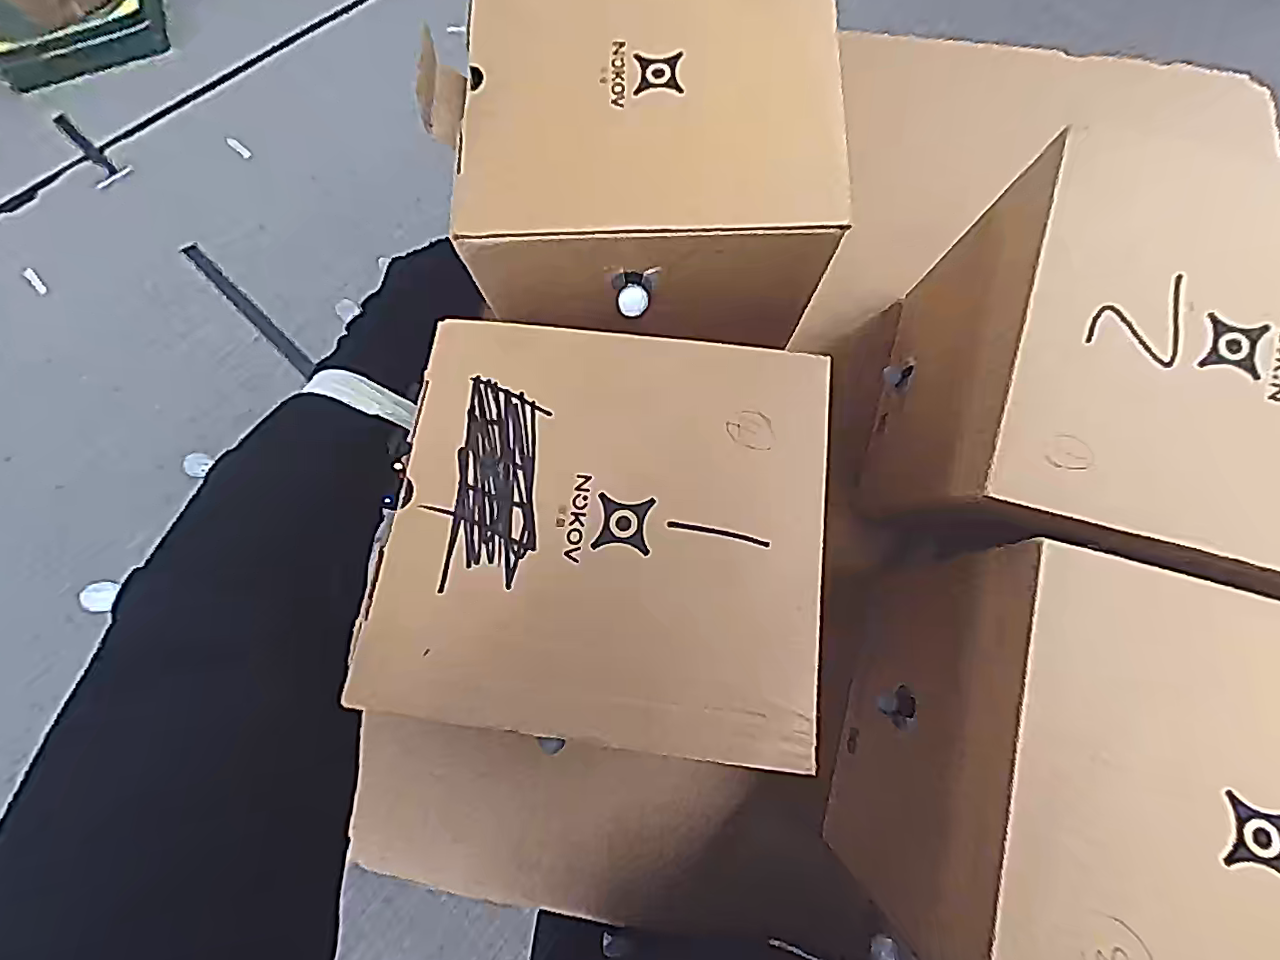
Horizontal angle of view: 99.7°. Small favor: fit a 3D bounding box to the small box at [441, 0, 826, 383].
[{"bbox_3d":[-0.001,-0.167,0.334,0.179,0.176,0.168,-1,78,3],"label":"small box"}]
